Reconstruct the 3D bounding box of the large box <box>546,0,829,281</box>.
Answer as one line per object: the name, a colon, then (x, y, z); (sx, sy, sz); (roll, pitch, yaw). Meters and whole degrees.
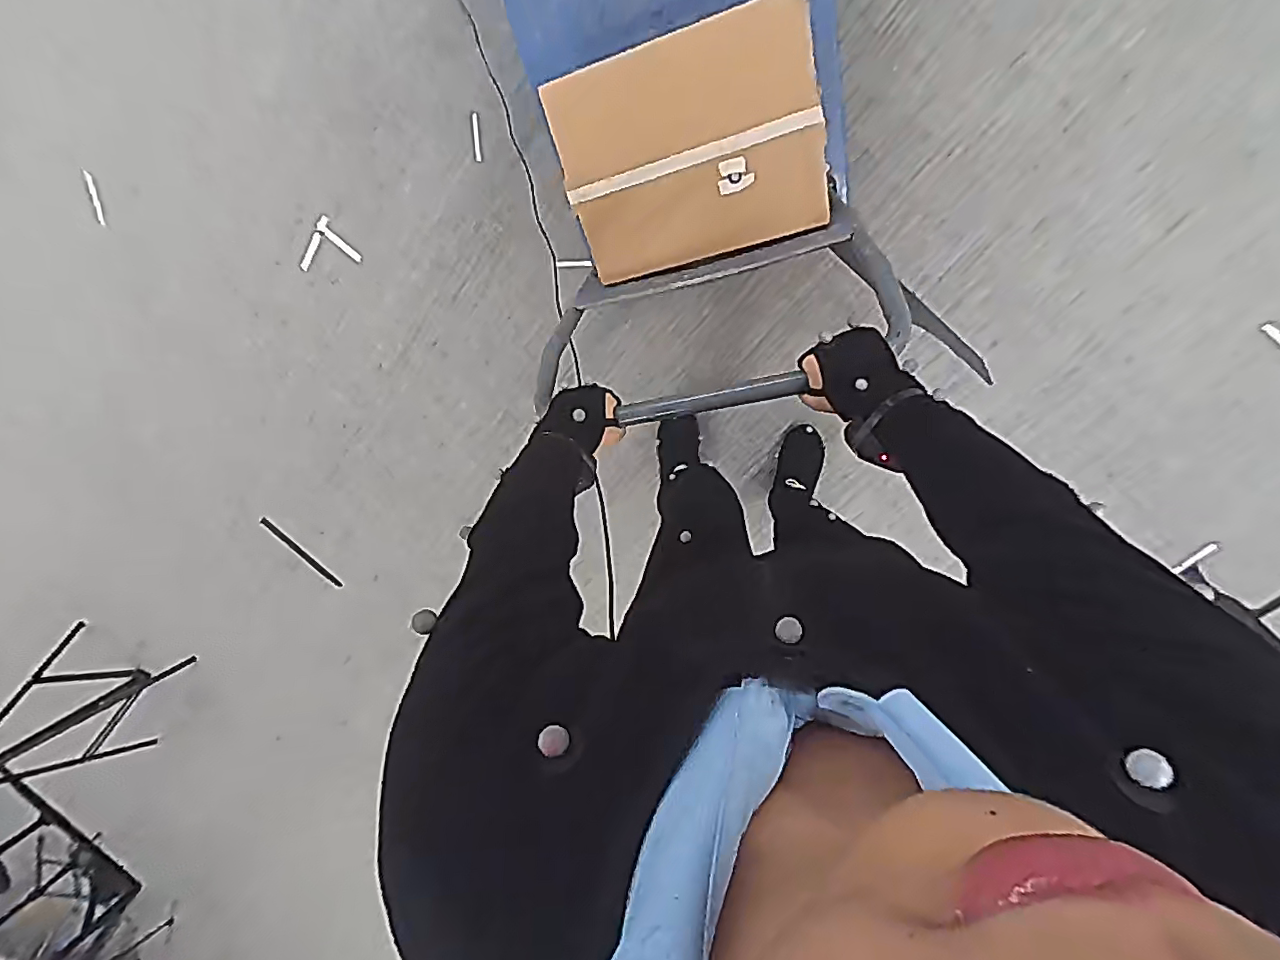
large box: (0.100, -0.607, 0.991); (0.408, 0.320, 0.320); (-10, 123, 16)
